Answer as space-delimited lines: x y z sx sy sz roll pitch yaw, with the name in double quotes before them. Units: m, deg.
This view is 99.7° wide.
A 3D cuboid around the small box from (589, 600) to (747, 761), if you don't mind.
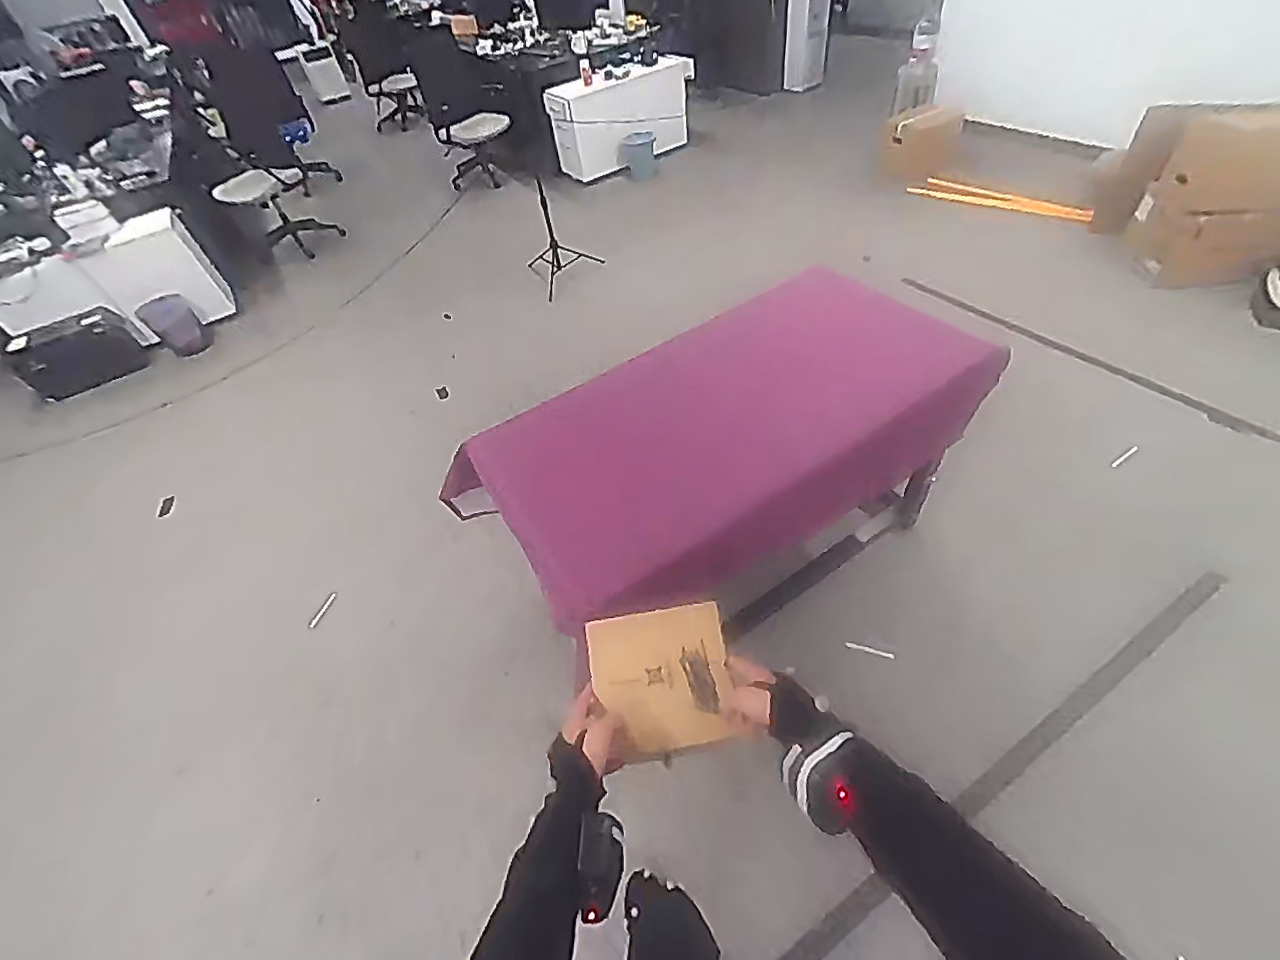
"small box" 0.032 0.278 0.738 0.179 0.176 0.168 -9 59 -2
